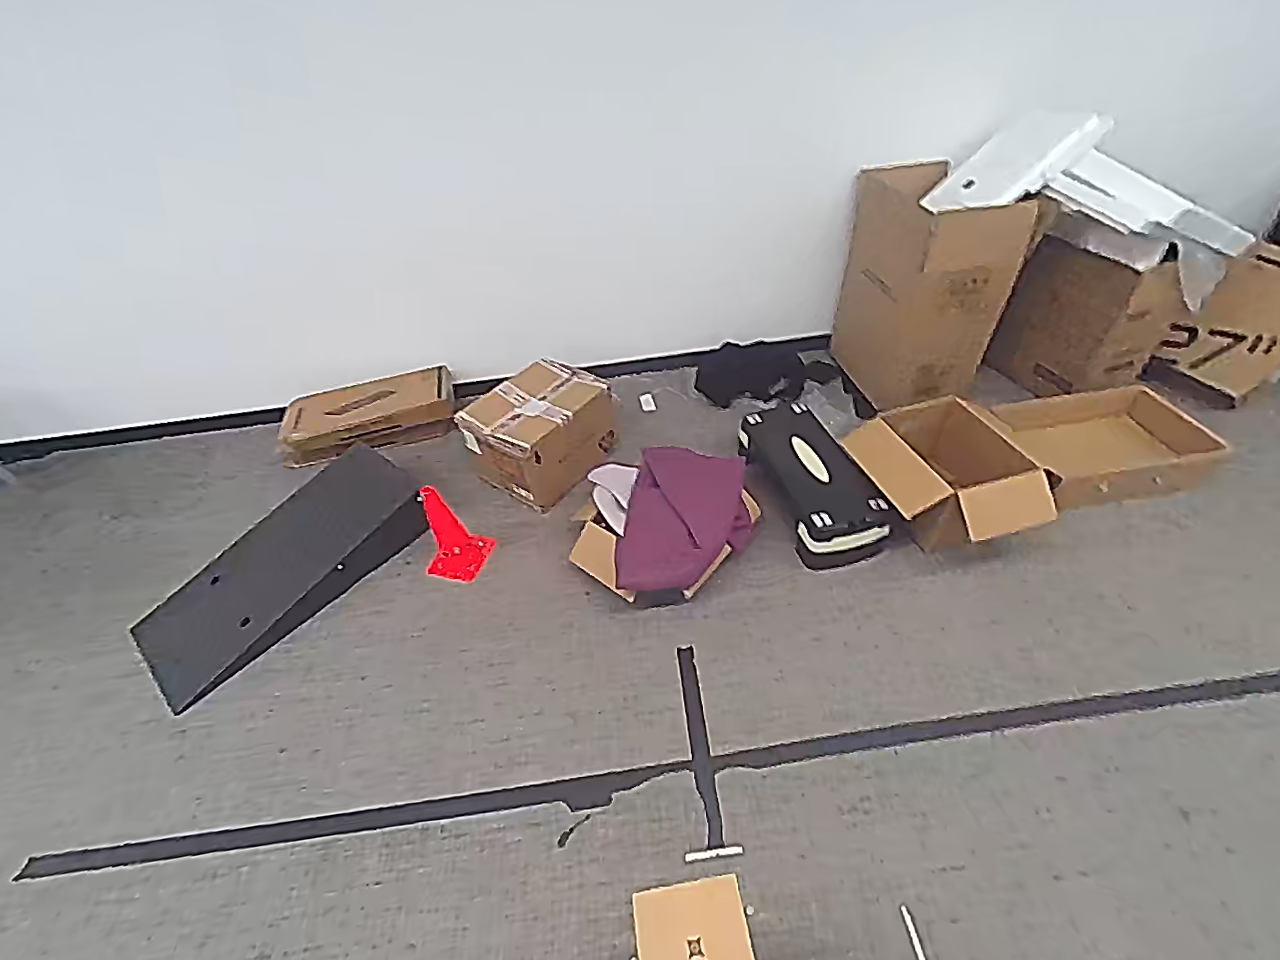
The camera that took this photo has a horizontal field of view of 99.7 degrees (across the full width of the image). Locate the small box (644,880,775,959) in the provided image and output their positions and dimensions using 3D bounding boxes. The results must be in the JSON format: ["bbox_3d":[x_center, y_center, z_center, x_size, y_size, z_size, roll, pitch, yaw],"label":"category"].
[{"bbox_3d":[0.102,0.692,0.751,0.168,0.176,0.179,-10,44,-2],"label":"small box"}]
